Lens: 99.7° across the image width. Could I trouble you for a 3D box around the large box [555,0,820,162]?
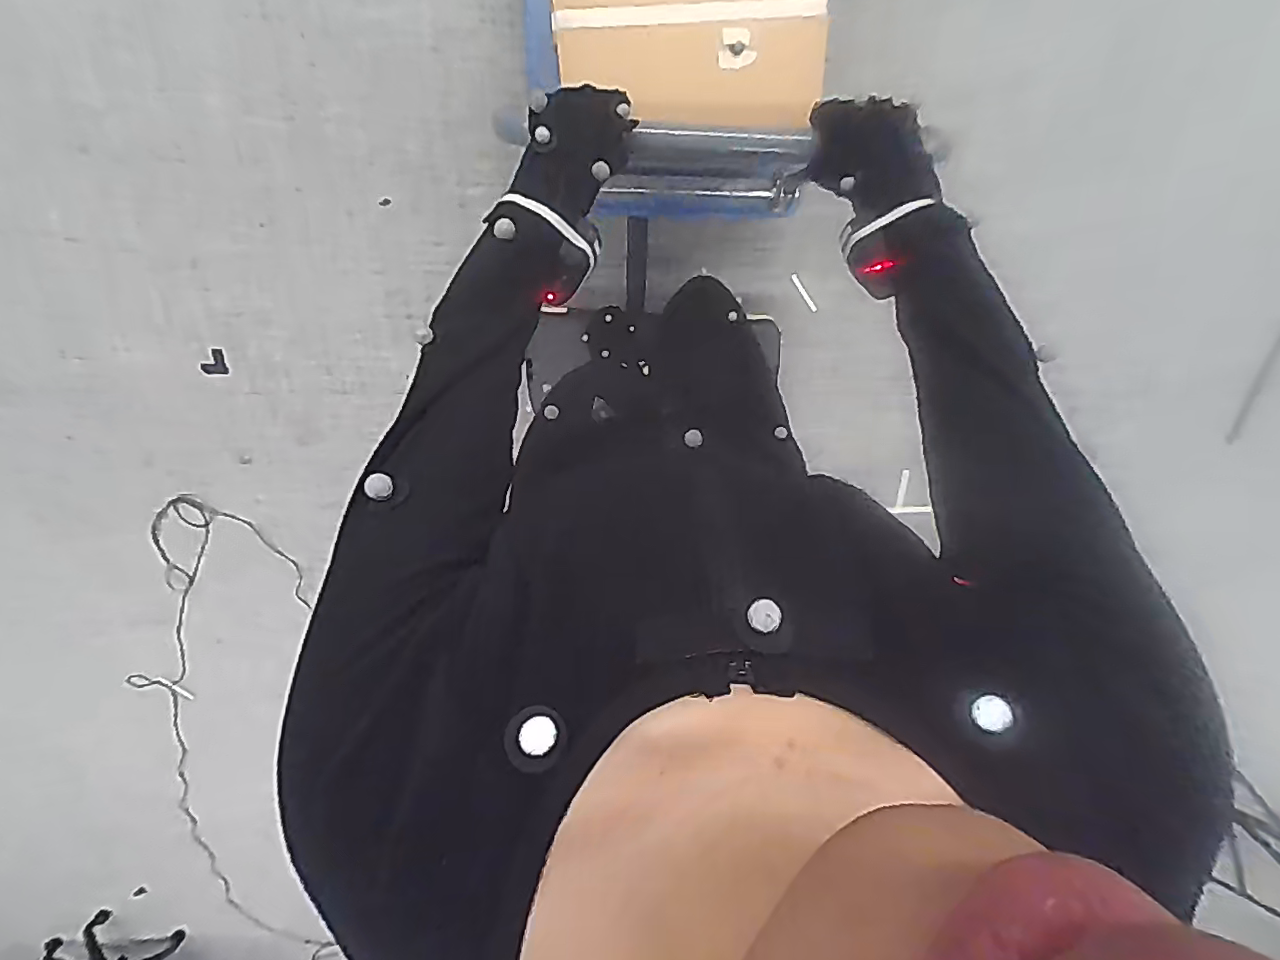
[{"bbox_3d":[0.063,-0.763,0.944,0.408,0.320,0.320,-4,116,-2],"label":"large box"}]
